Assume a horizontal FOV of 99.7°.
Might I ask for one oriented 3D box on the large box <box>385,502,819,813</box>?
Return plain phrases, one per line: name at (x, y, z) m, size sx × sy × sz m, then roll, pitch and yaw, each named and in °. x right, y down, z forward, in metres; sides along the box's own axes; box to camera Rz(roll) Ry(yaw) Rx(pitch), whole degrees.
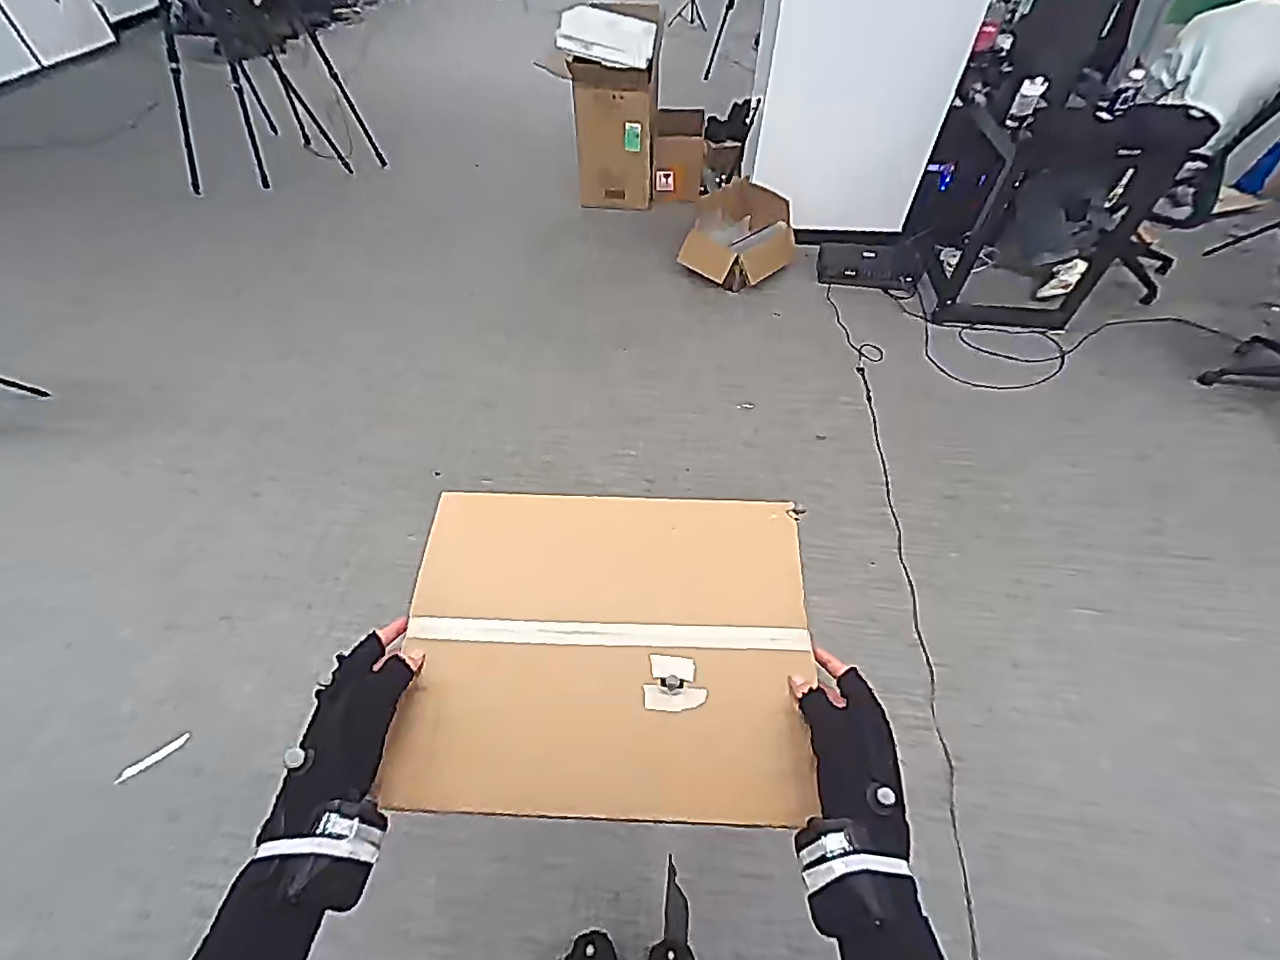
large box at (-0.034, 0.237, 0.689) m, size 0.408 × 0.320 × 0.320 m, roll 2°, pitch 60°, yaw 1°
